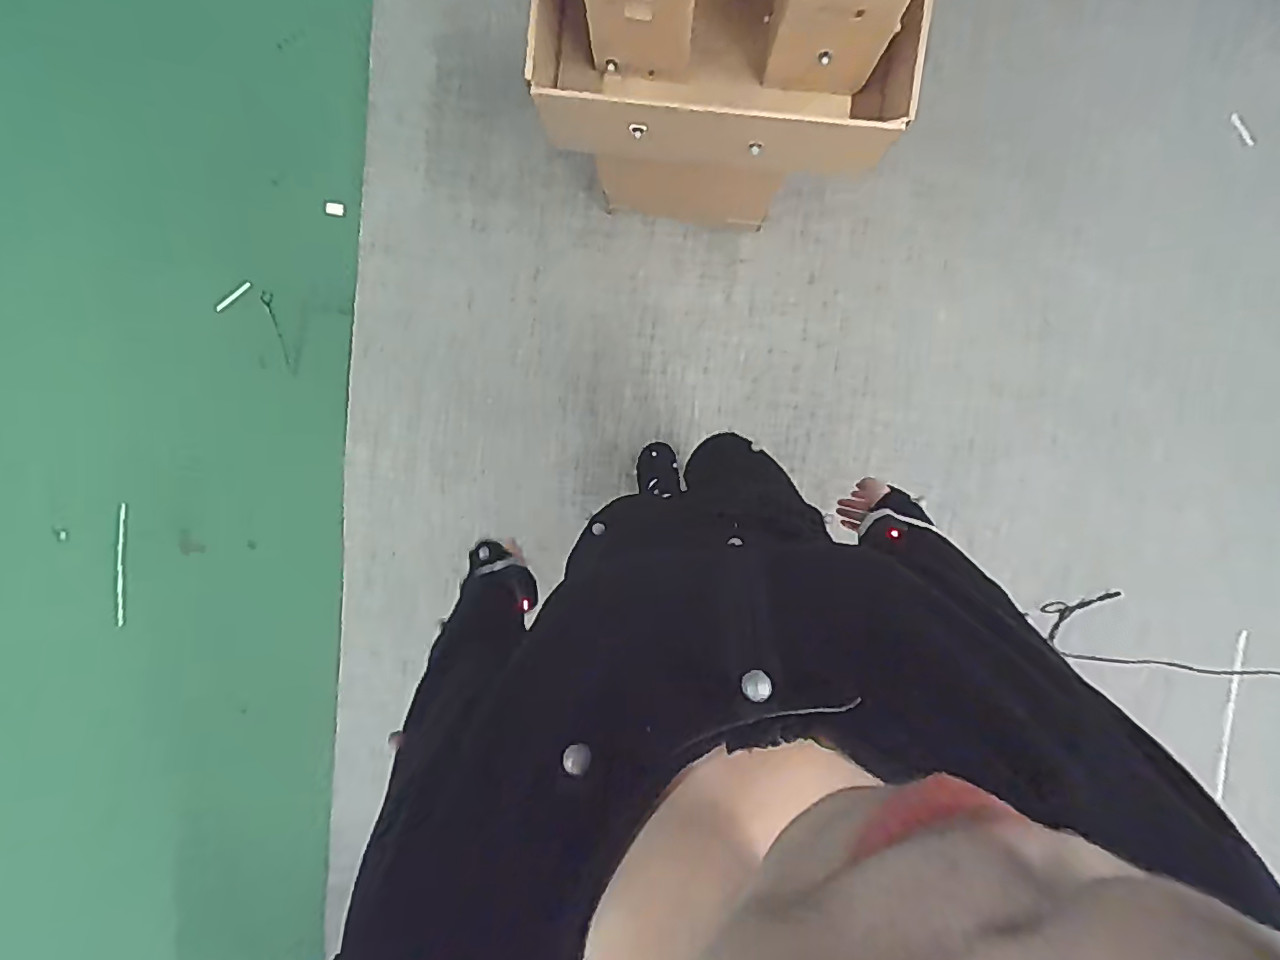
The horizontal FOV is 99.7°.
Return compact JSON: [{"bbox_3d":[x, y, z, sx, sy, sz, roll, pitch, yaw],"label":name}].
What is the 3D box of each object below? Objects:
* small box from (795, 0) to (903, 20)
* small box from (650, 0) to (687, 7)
[{"bbox_3d":[0.300,-0.757,0.707,0.168,0.176,0.179,7,94,1],"label":"small box"},{"bbox_3d":[0.006,-0.790,0.718,0.168,0.176,0.179,12,94,0],"label":"small box"}]
